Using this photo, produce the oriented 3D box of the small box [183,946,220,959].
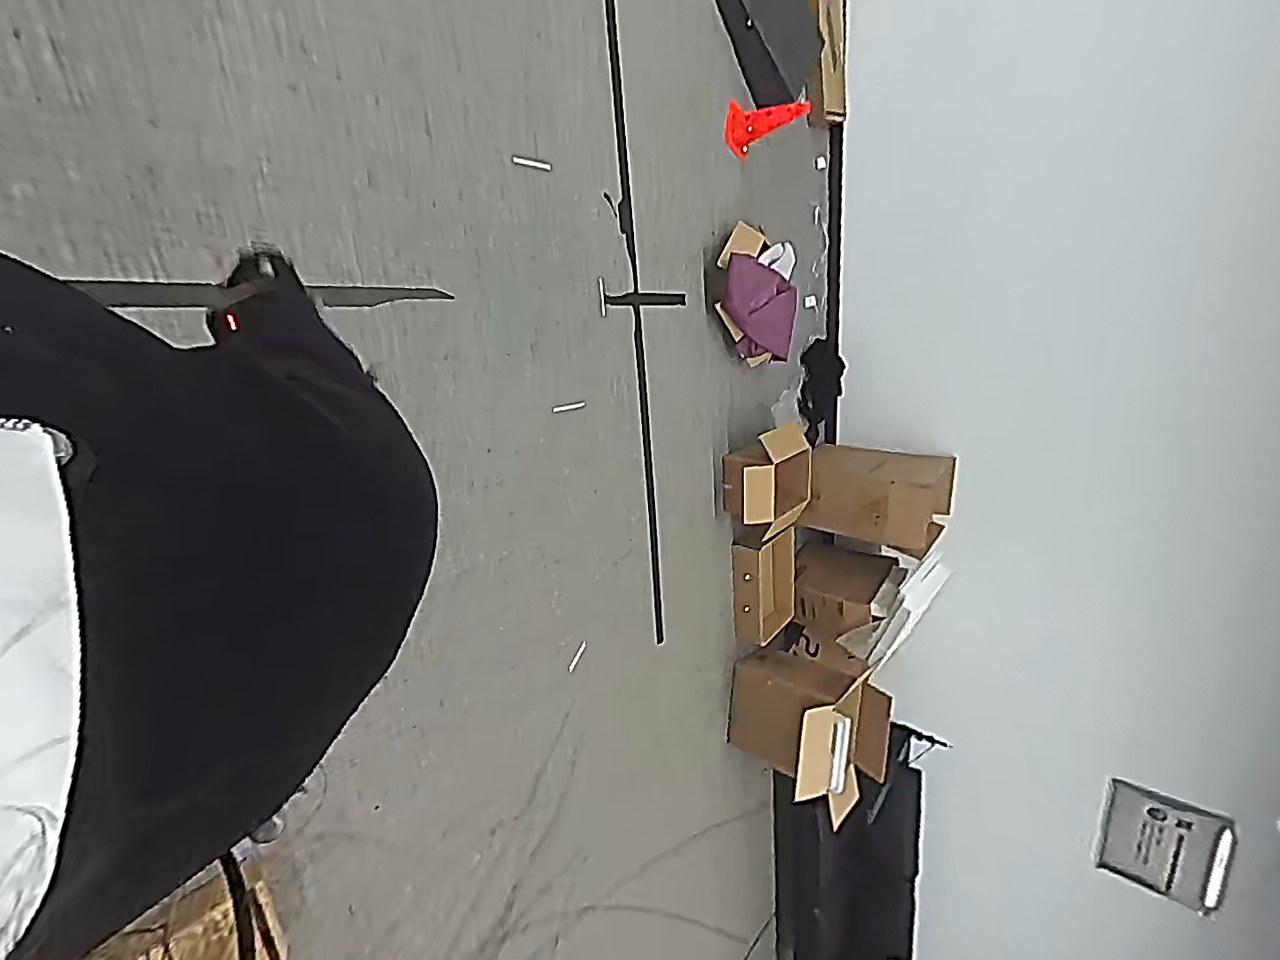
[{"bbox_3d":[-0.983,1.180,1.168,0.168,0.176,0.179,-22,113,-44],"label":"small box"}]
